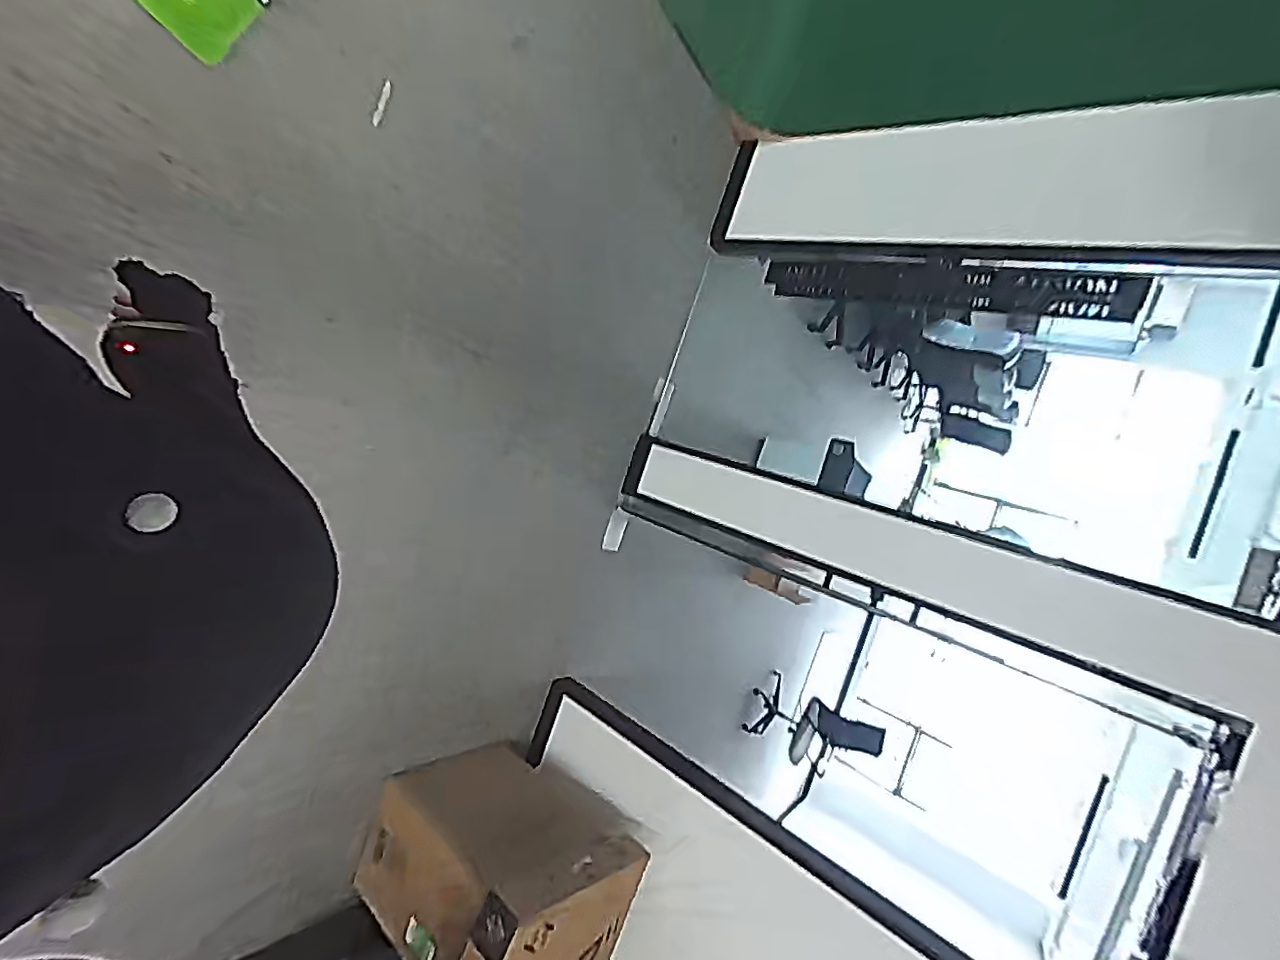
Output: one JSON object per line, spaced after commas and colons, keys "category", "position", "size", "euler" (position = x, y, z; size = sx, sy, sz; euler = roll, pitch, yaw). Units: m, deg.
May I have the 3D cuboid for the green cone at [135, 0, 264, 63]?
{"category": "green cone", "position": [-0.708, -0.881, 0.896], "size": [0.200, 0.368, 0.202], "euler": [40, 73, -53]}
